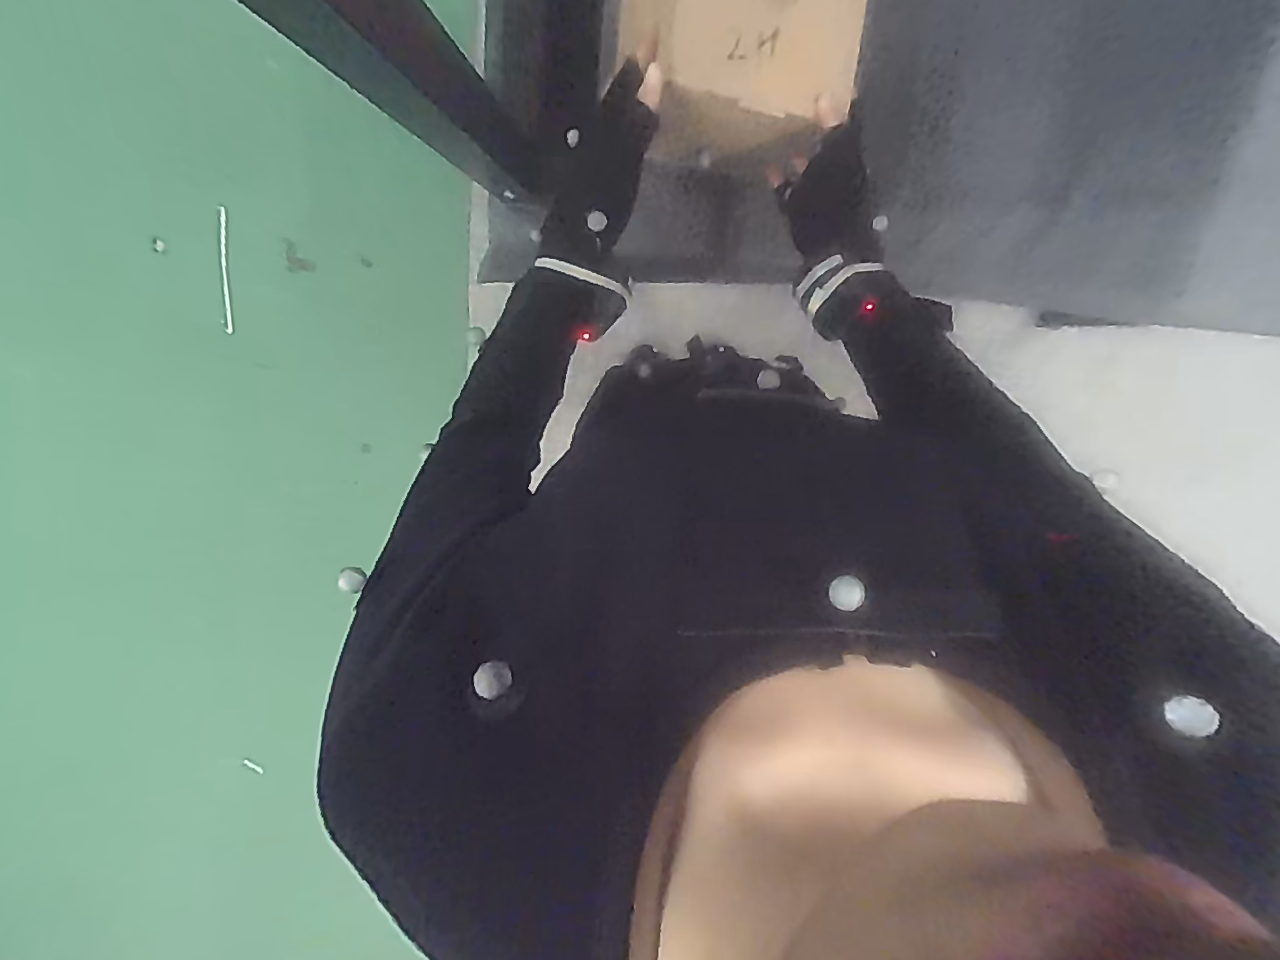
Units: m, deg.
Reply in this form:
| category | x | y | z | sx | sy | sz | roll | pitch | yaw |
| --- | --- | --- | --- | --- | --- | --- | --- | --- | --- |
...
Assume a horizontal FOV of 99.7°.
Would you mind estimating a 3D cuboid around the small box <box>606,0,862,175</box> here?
| category | x | y | z | sx | sy | sz | roll | pitch | yaw |
| --- | --- | --- | --- | --- | --- | --- | --- | --- | --- |
| small box | 0.074 | -0.402 | 0.482 | 0.168 | 0.176 | 0.179 | 0 | 105 | -21 |

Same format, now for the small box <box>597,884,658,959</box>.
| category | x | y | z | sx | sy | sz | roll | pitch | yaw |
| --- | --- | --- | --- | --- | --- | --- | --- | --- | --- |
| small box | -0.041 | 1.500 | 1.801 | 0.168 | 0.176 | 0.179 | 15 | 106 | 1 |
